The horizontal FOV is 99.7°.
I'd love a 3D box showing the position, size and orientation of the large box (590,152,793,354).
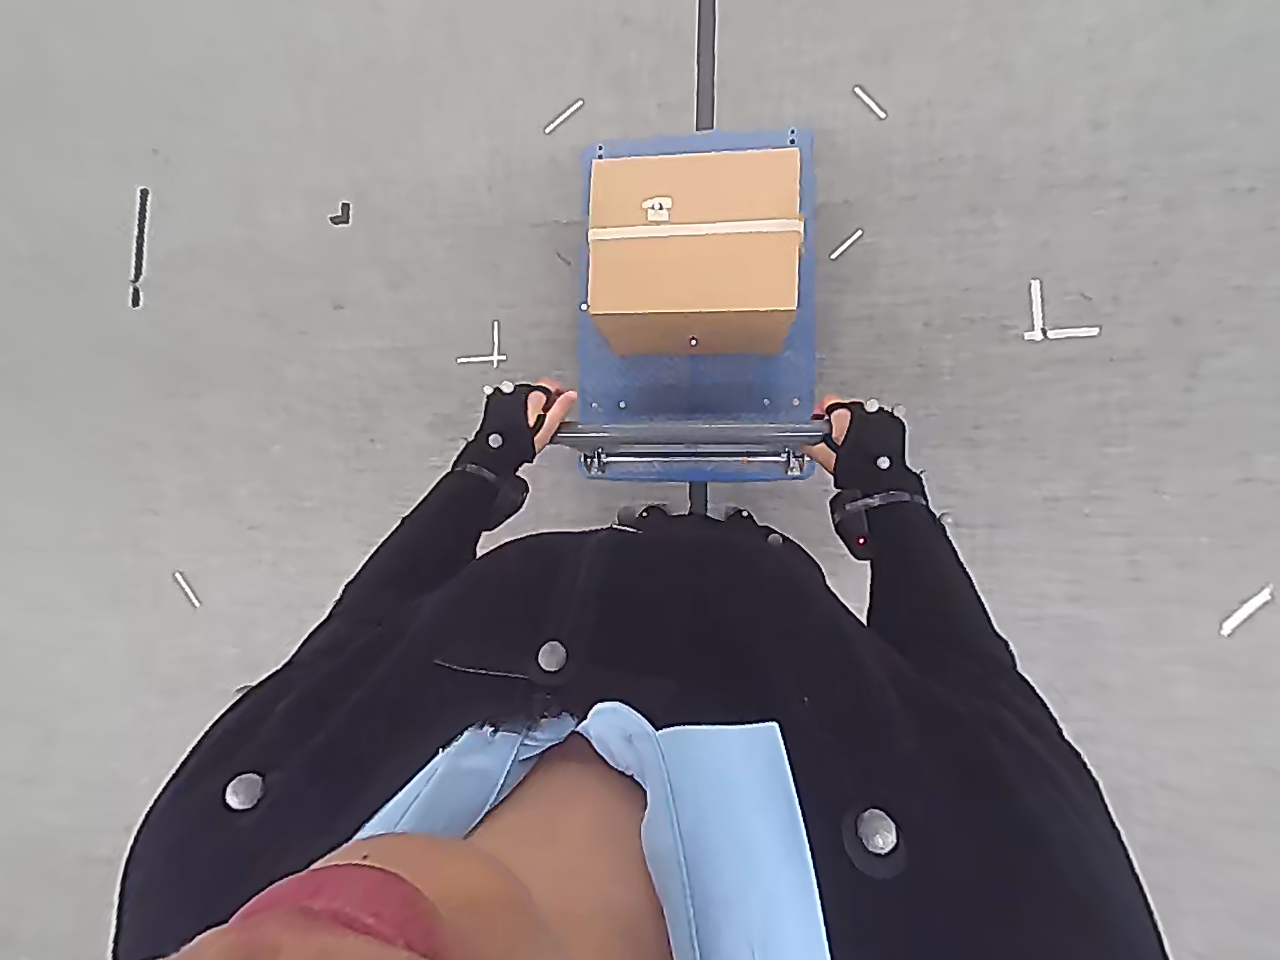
[{"bbox_3d":[0.121,-0.474,1.211,0.408,0.320,0.320,1,87,9],"label":"large box"}]
